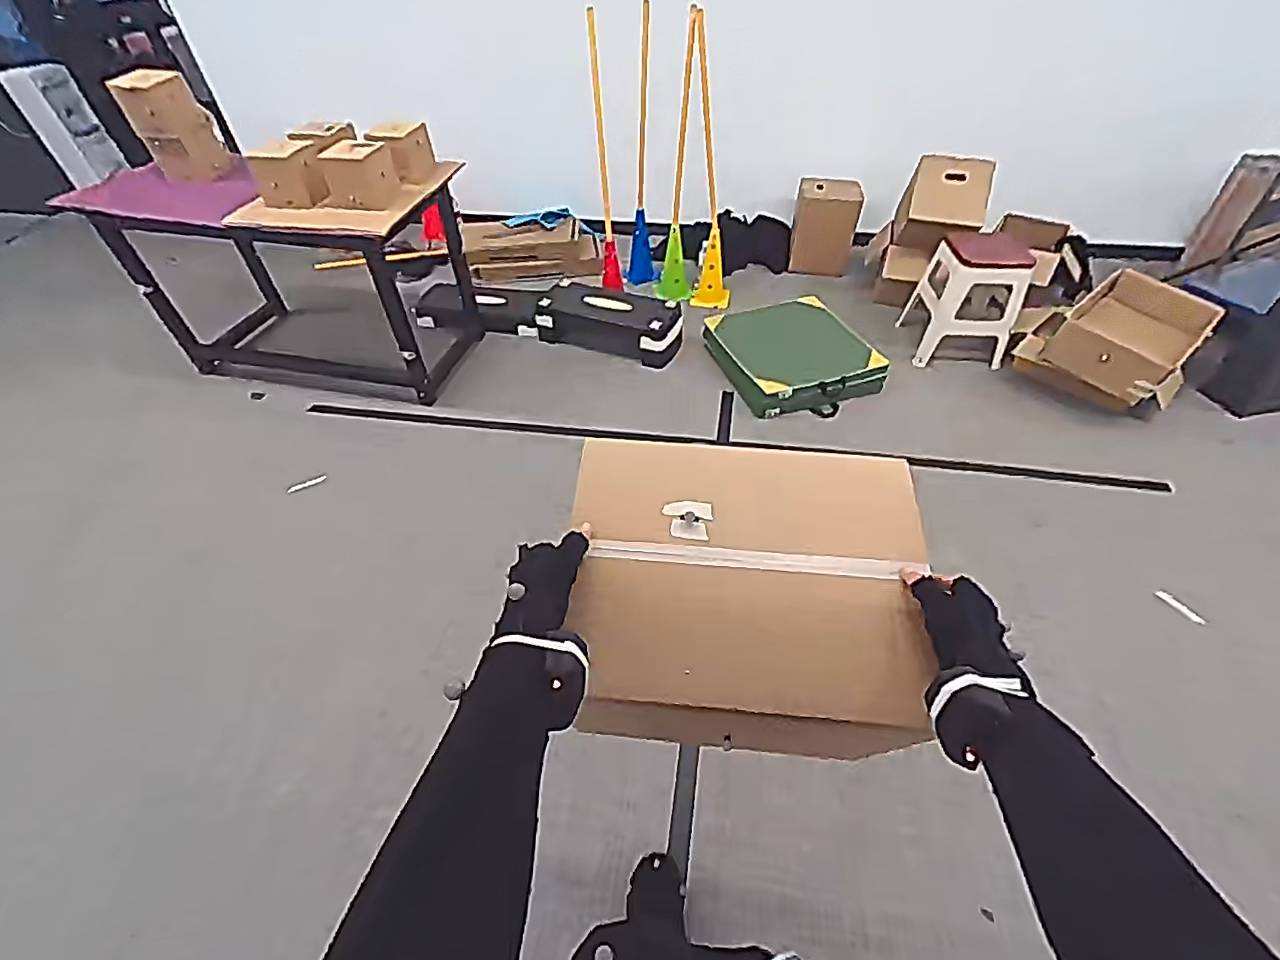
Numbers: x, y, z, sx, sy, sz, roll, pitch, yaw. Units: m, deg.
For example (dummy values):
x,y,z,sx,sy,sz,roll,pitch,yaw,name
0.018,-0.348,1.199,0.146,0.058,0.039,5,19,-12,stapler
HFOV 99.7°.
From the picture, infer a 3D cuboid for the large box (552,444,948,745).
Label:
x,y,z,sx,sy,sz,roll,pitch,yaw,name
0.123,0.169,0.745,0.408,0.320,0.320,4,57,4,large box
